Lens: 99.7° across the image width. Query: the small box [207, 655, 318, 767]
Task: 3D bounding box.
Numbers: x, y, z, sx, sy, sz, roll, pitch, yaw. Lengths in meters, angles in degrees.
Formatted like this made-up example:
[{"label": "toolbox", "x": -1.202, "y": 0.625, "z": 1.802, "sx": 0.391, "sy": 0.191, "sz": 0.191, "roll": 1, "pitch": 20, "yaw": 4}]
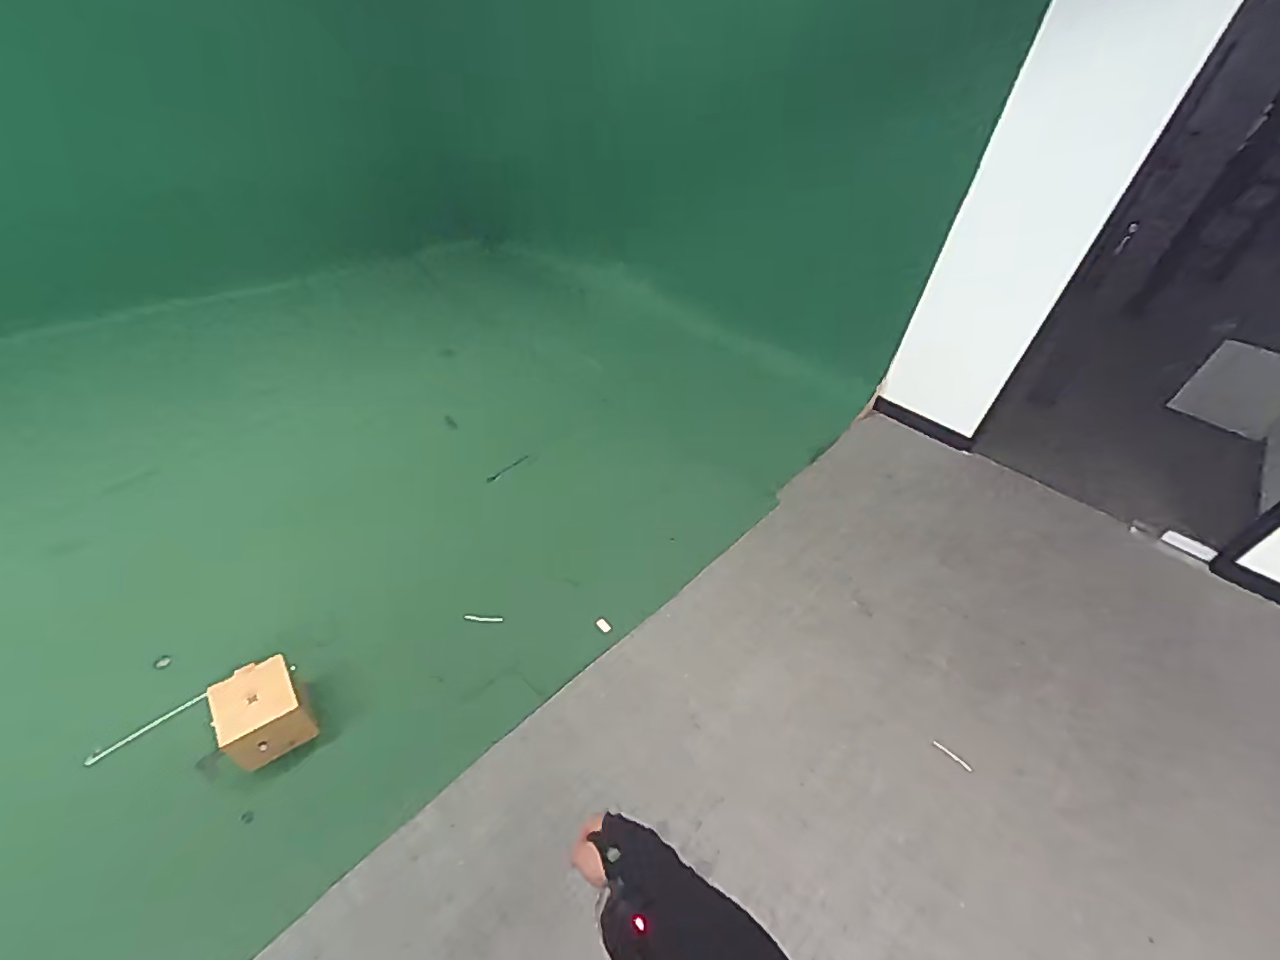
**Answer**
[{"label": "small box", "x": -0.935, "y": 0.584, "z": 1.351, "sx": 0.168, "sy": 0.176, "sz": 0.179, "roll": -25, "pitch": 51, "yaw": -30}]
